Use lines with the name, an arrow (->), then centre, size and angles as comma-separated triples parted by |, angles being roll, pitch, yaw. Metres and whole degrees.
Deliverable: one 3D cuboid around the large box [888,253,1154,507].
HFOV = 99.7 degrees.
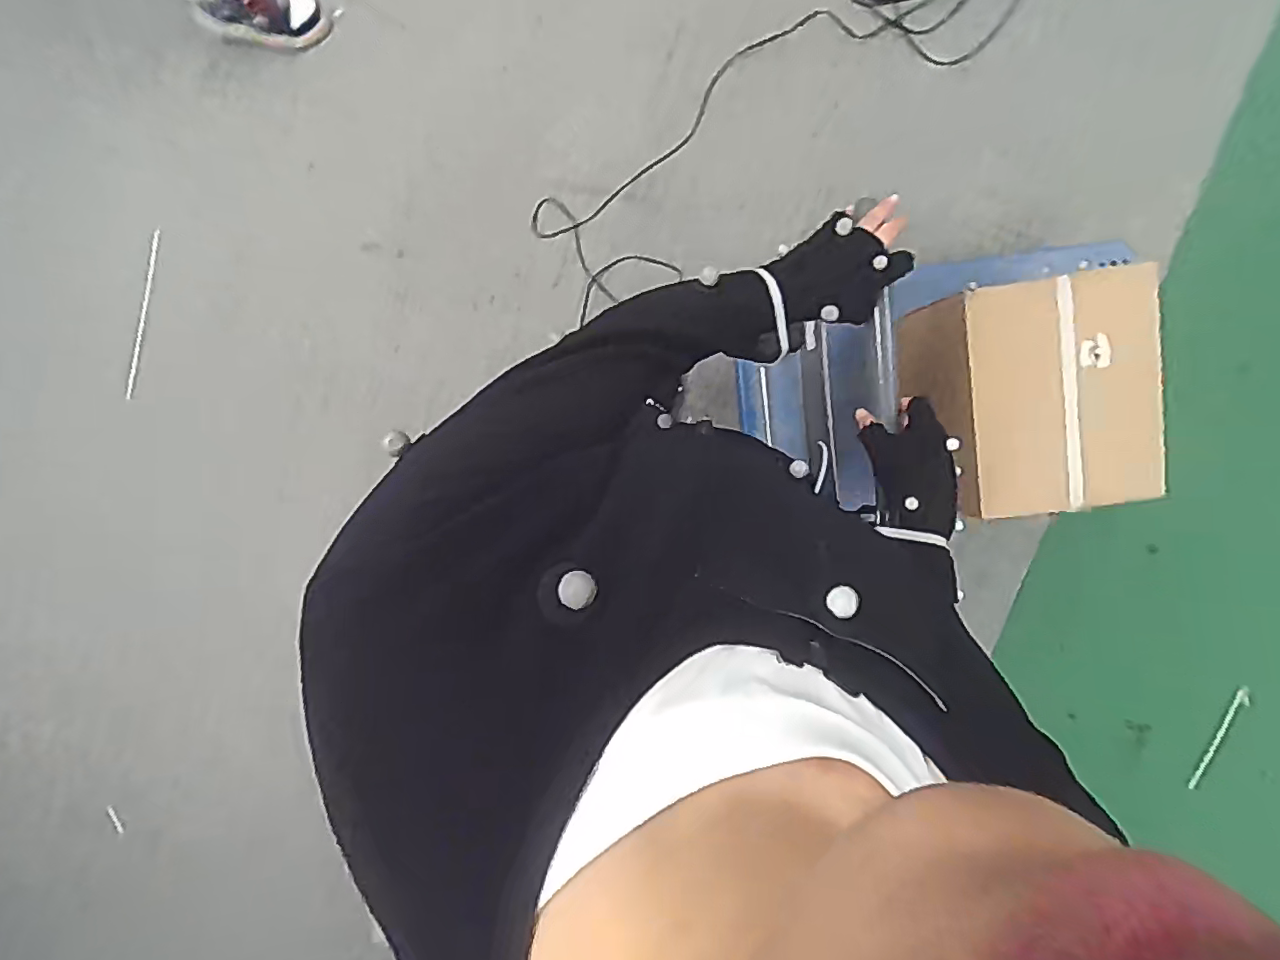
large box -> 0.731, -0.183, 1.091 | 0.320, 0.320, 0.408 | -8, 96, 4
